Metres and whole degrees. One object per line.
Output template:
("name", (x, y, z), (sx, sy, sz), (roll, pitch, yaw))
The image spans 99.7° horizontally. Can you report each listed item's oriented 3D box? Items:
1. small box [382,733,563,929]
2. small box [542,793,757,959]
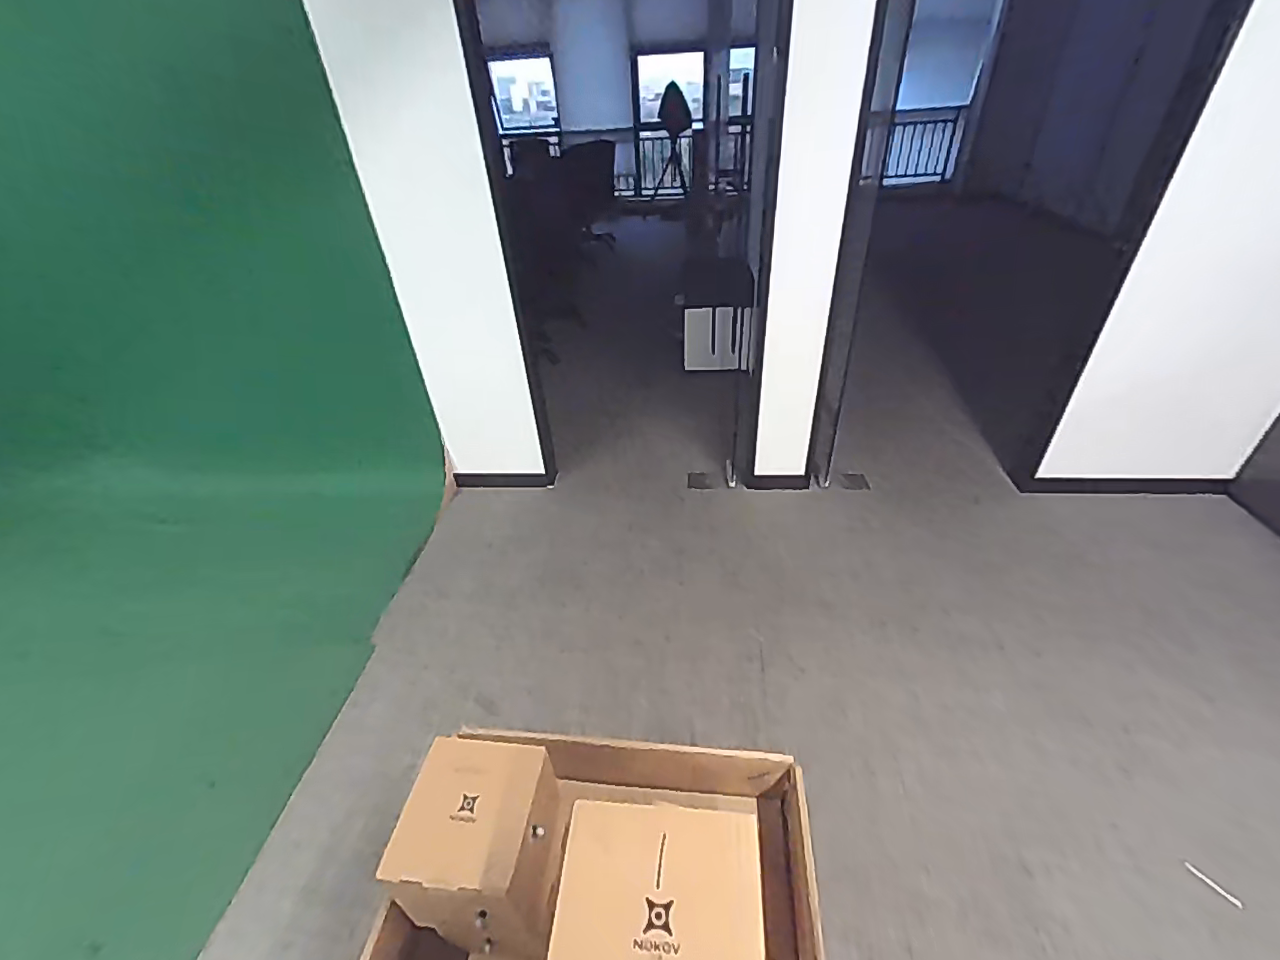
("small box", (-0.212, 0.483, 0.747), (0.168, 0.176, 0.179), (2, 36, 8))
("small box", (0.018, 0.406, 0.476), (0.168, 0.176, 0.179), (0, 41, 9))
